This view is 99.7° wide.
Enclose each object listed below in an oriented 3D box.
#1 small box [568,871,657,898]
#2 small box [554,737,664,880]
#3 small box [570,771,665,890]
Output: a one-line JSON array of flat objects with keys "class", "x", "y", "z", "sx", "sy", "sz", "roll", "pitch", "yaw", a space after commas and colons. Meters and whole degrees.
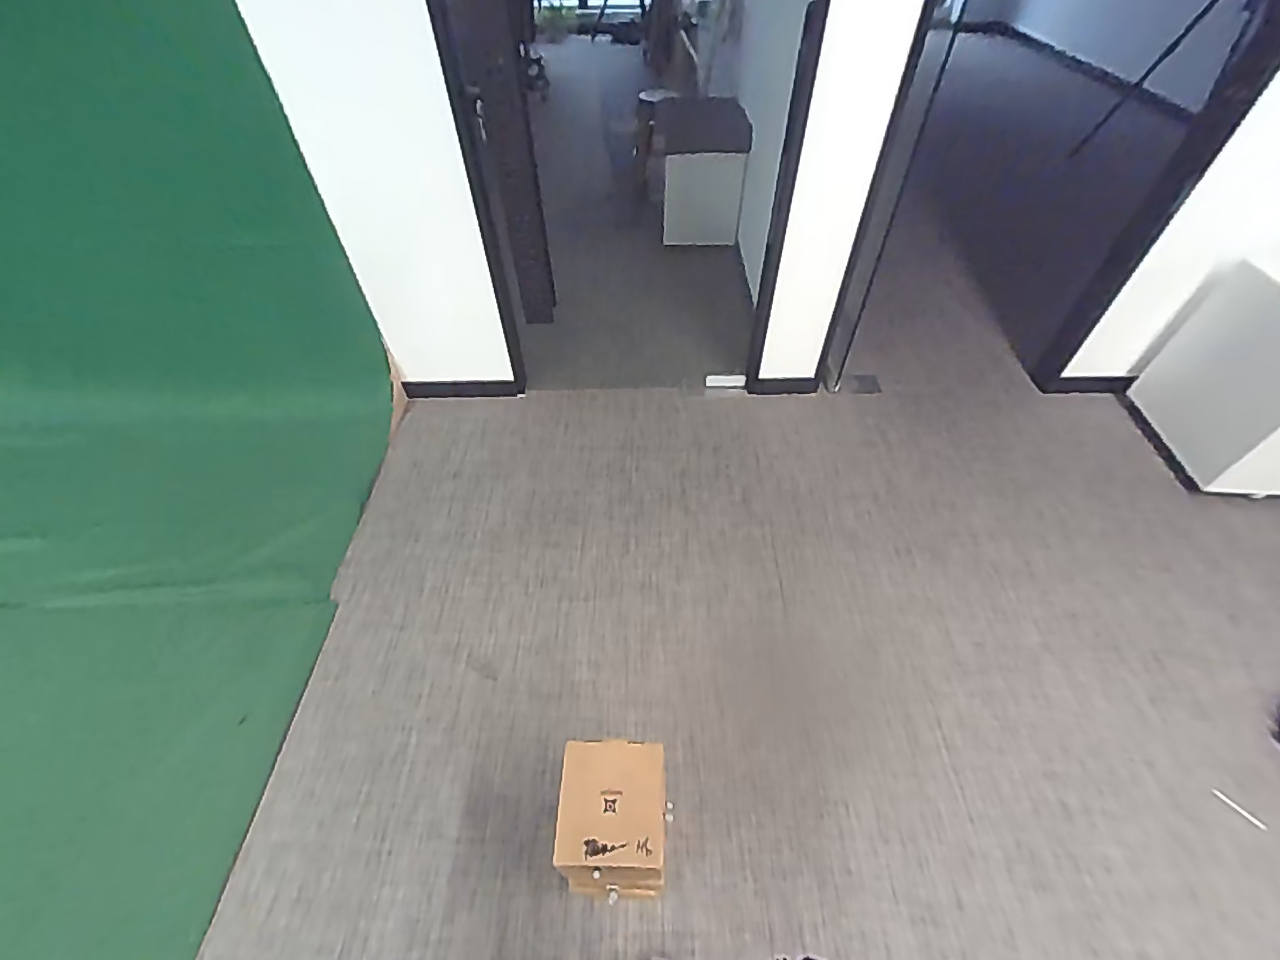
[{"class": "small box", "x": -0.048, "y": 0.780, "z": 1.154, "sx": 0.179, "sy": 0.176, "sz": 0.168, "roll": 1, "pitch": 49, "yaw": 3}, {"class": "small box", "x": -0.044, "y": 0.557, "z": 0.918, "sx": 0.168, "sy": 0.176, "sz": 0.179, "roll": 0, "pitch": 48, "yaw": 2}, {"class": "small box", "x": -0.035, "y": 0.668, "z": 1.038, "sx": 0.168, "sy": 0.176, "sz": 0.179, "roll": 0, "pitch": 49, "yaw": 2}]
